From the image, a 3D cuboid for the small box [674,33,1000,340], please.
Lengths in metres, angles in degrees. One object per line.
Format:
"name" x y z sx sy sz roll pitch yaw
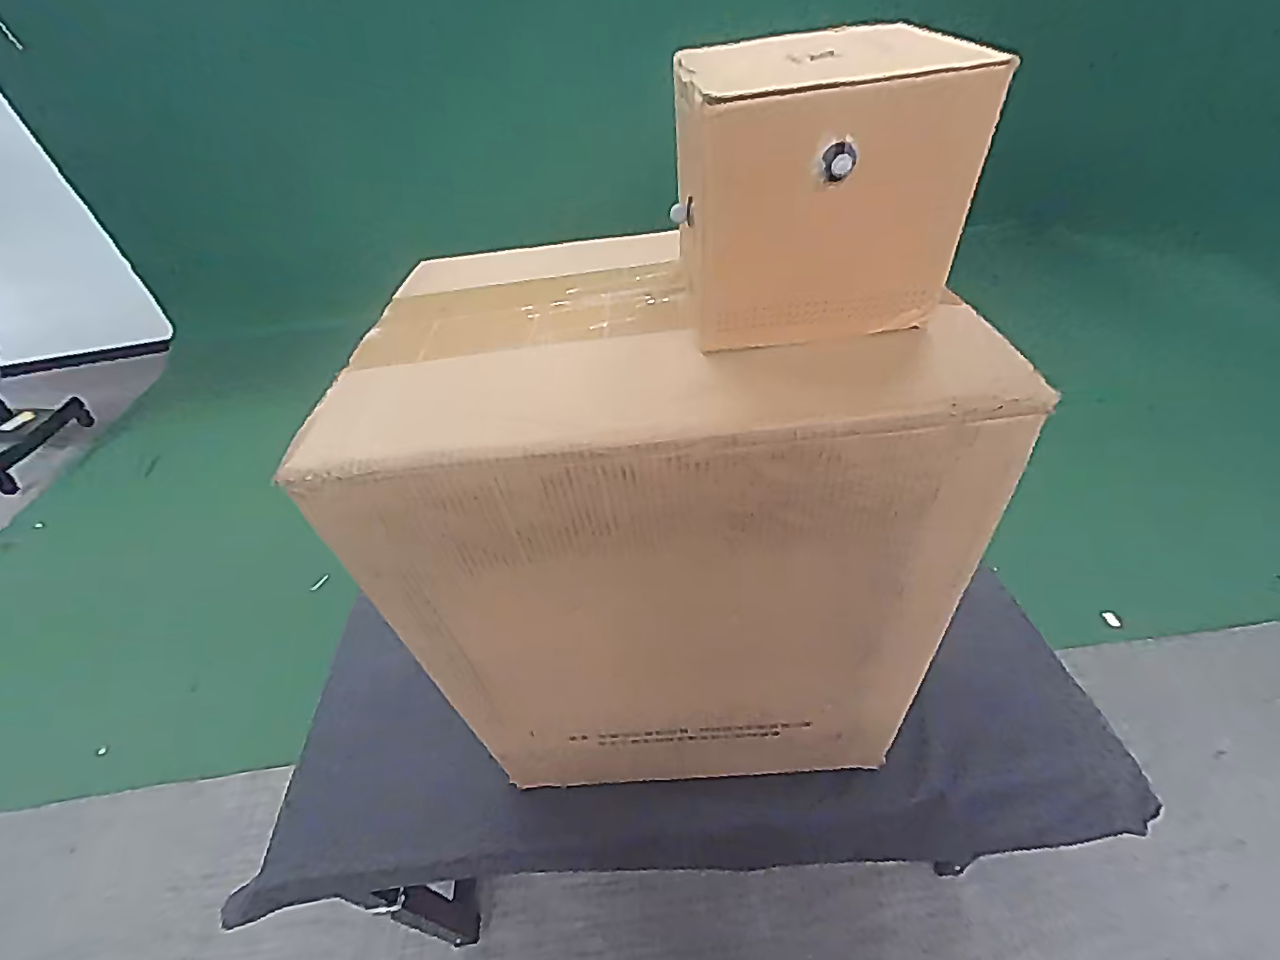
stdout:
"small box" 0.122 -0.222 0.419 0.179 0.176 0.168 -5 46 1
